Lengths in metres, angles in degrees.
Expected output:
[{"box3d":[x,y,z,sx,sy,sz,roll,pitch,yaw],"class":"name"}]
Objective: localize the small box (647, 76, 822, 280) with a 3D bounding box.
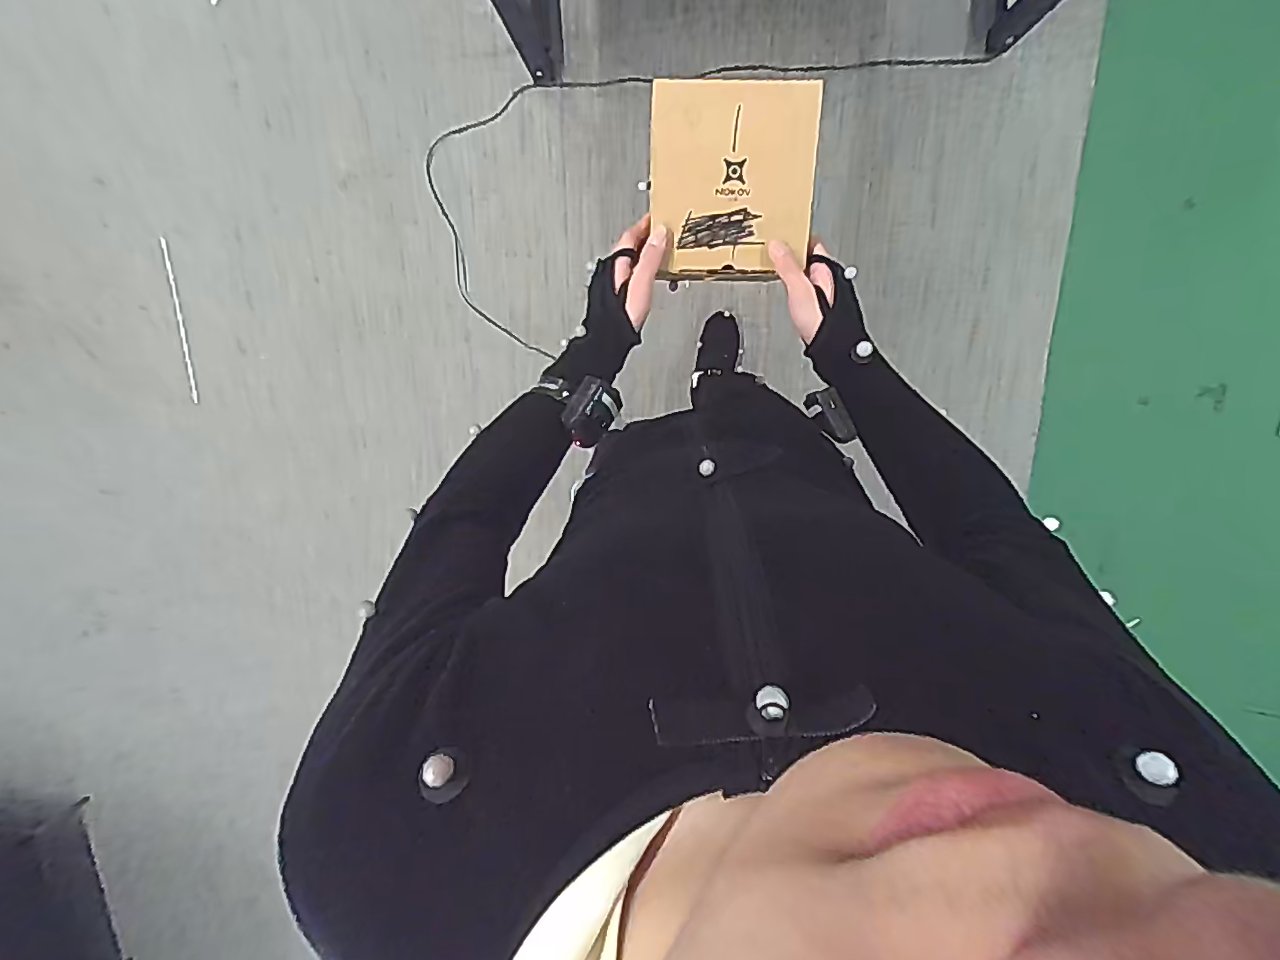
[{"box3d":[0.093,-0.326,0.618,0.168,0.176,0.179,1,106,0],"class":"small box"}]
